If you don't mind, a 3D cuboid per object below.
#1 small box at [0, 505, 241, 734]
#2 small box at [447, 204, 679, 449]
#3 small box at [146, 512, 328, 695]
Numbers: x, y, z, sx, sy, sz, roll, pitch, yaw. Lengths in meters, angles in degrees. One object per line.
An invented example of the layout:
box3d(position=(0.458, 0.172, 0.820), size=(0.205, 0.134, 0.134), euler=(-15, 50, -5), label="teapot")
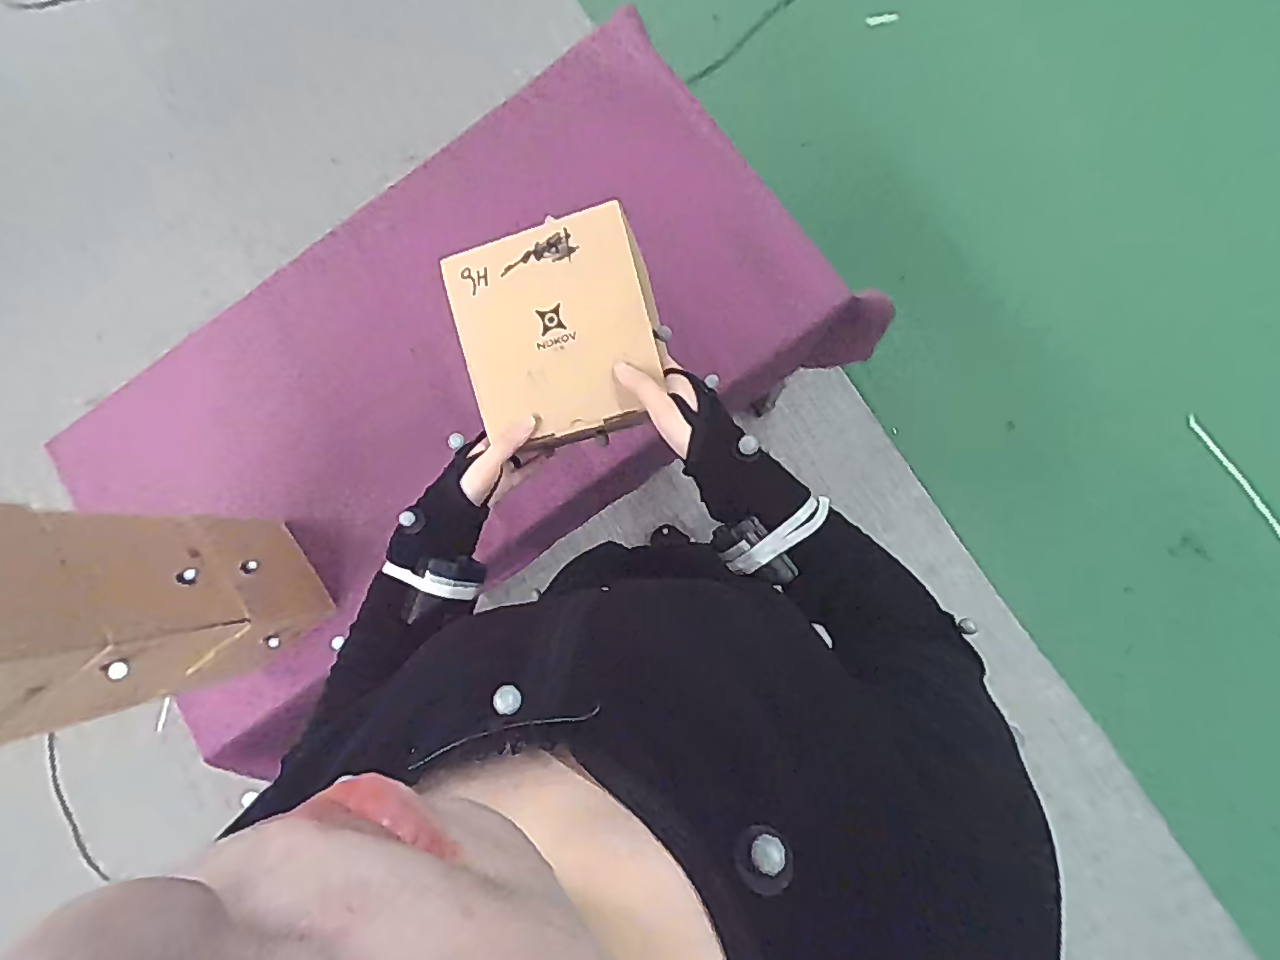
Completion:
box3d(position=(-0.609, 0.148, 0.602), size=(0.179, 0.176, 0.168), euler=(-38, 82, 0), label="small box")
box3d(position=(-0.060, -0.137, 0.542), size=(0.168, 0.176, 0.179), euler=(-13, 94, 8), label="small box")
box3d(position=(-0.589, 0.162, 0.763), size=(0.168, 0.176, 0.179), euler=(-37, 82, 0), label="small box")
